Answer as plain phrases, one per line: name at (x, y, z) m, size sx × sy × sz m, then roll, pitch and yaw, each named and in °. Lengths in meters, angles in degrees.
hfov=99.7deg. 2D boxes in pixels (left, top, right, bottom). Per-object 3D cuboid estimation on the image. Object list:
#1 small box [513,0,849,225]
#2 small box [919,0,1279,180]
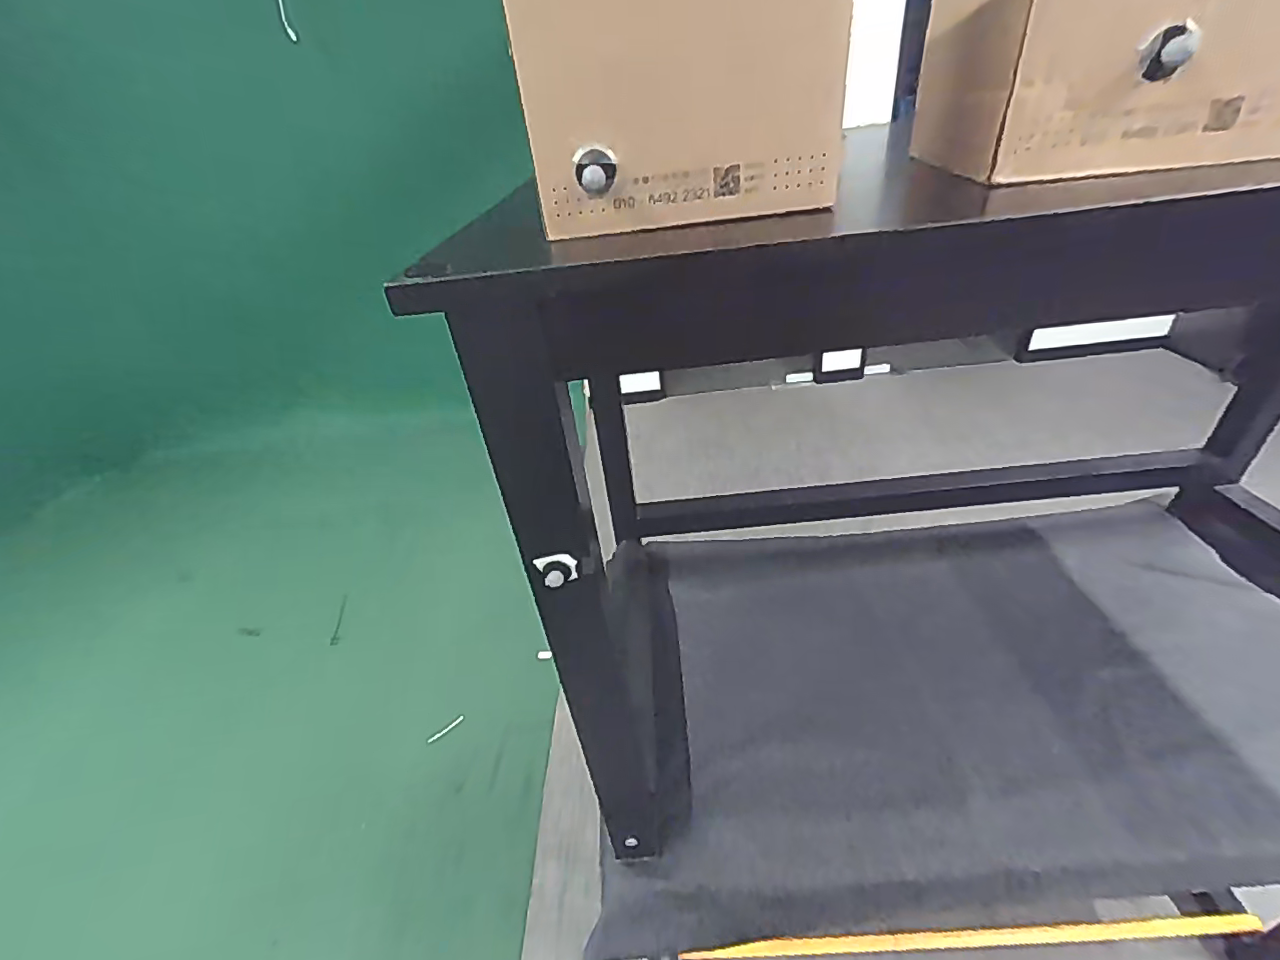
small box at (0.022, -0.262, 0.331) m, size 0.168 × 0.176 × 0.179 m, roll -5°, pitch 33°, yaw 2°
small box at (0.286, -0.284, 0.319) m, size 0.168 × 0.176 × 0.179 m, roll 0°, pitch 35°, yaw 10°
